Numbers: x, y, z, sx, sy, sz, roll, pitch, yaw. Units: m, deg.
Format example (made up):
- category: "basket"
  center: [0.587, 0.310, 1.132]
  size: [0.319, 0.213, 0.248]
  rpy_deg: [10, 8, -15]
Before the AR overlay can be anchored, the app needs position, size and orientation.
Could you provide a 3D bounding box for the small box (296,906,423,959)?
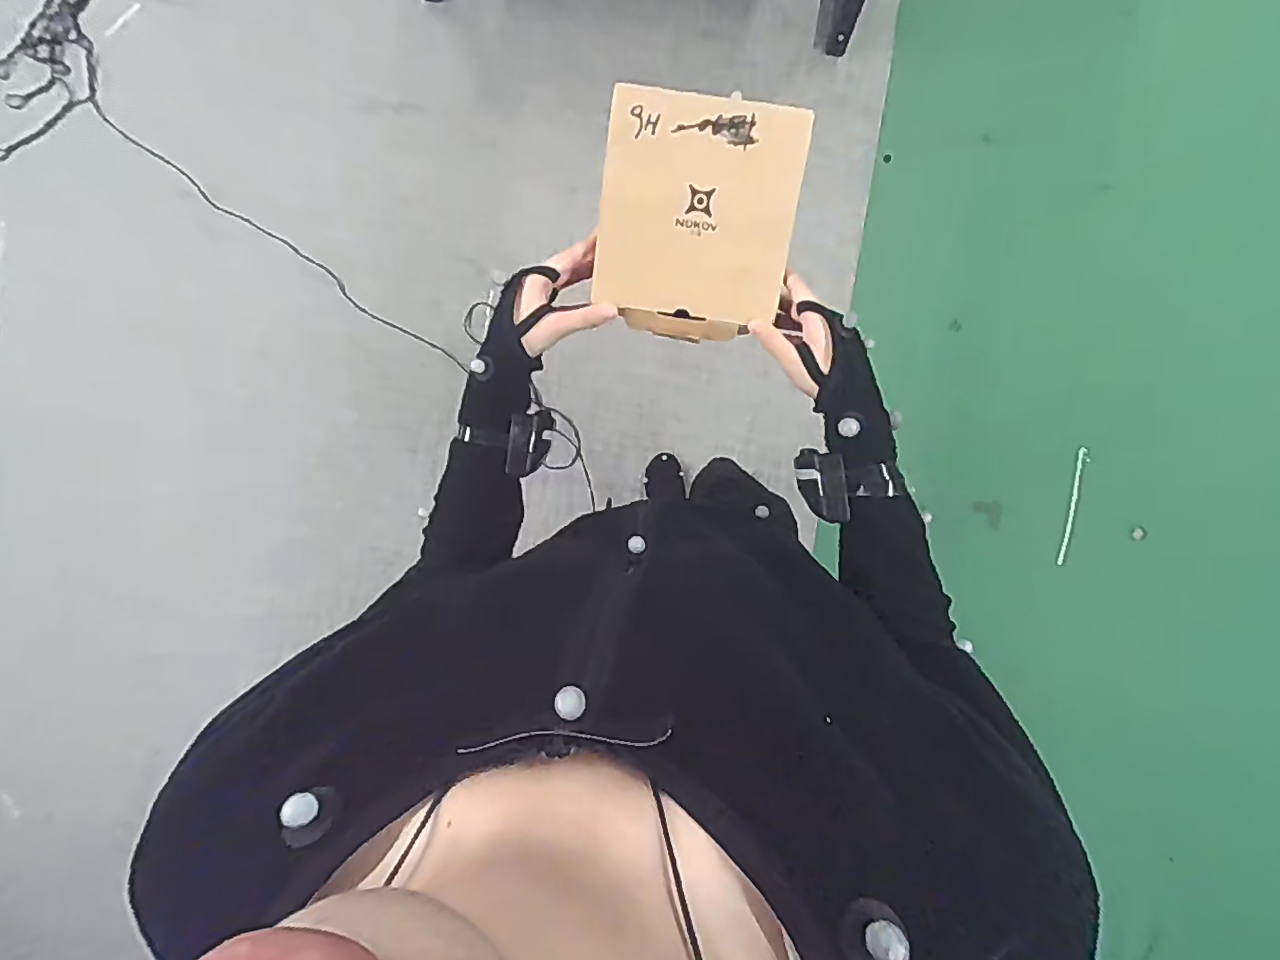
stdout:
- category: "small box"
  center: [-0.482, 0.859, 0.908]
  size: [0.168, 0.176, 0.179]
  rpy_deg: [-6, 91, 5]
